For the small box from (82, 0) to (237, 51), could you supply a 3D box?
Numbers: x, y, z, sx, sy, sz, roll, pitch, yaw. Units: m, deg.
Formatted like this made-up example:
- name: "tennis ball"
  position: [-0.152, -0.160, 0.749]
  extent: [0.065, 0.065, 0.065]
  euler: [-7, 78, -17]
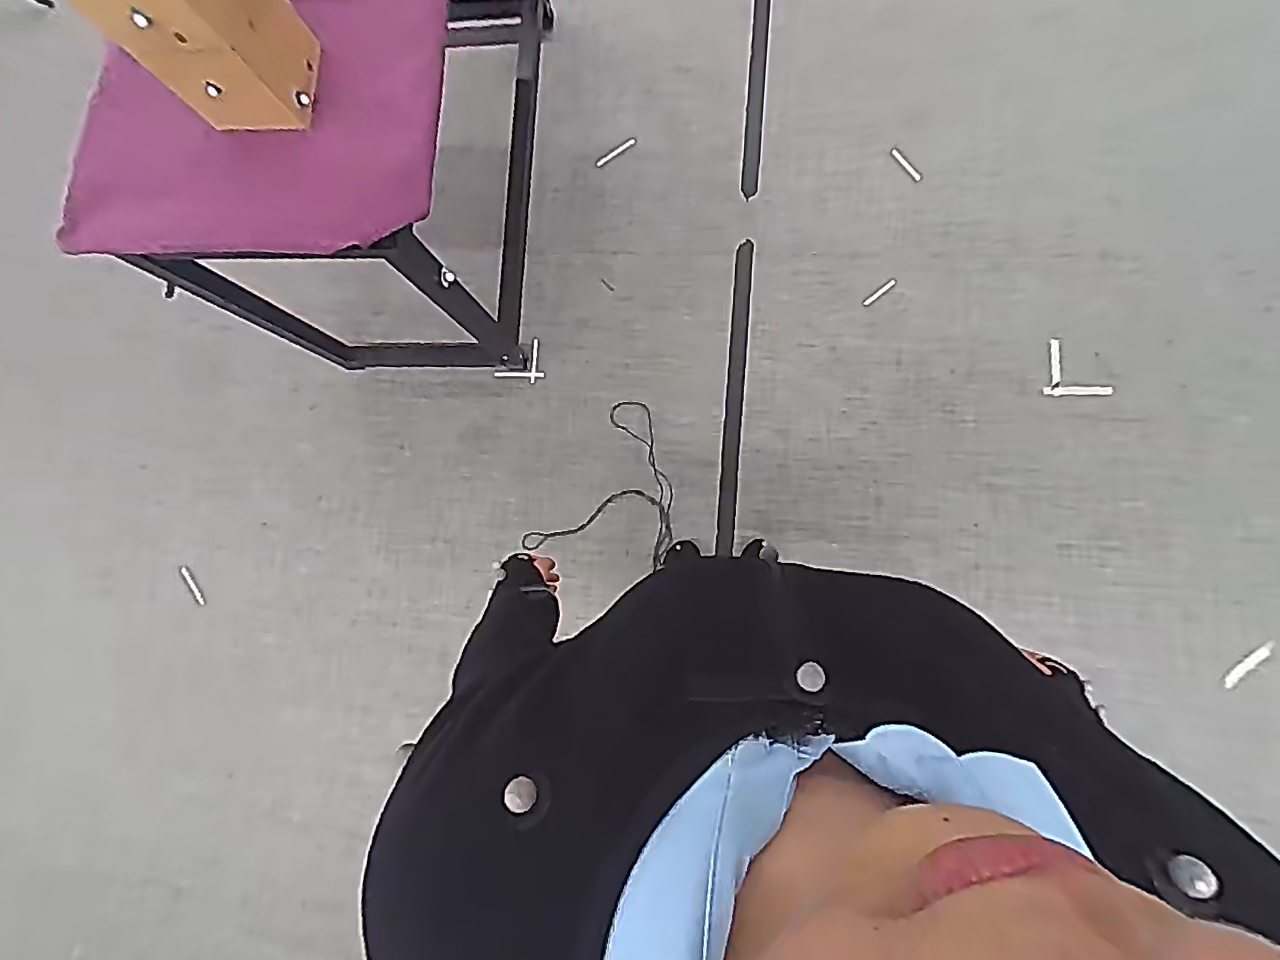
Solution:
- name: "small box"
  position: [-0.667, -0.718, 0.712]
  extent: [0.168, 0.176, 0.179]
  euler: [3, 84, 6]

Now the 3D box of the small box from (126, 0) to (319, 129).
- name: "small box"
  position: [-0.660, -0.703, 0.876]
  extent: [0.179, 0.176, 0.168]
  euler: [3, 84, 6]
